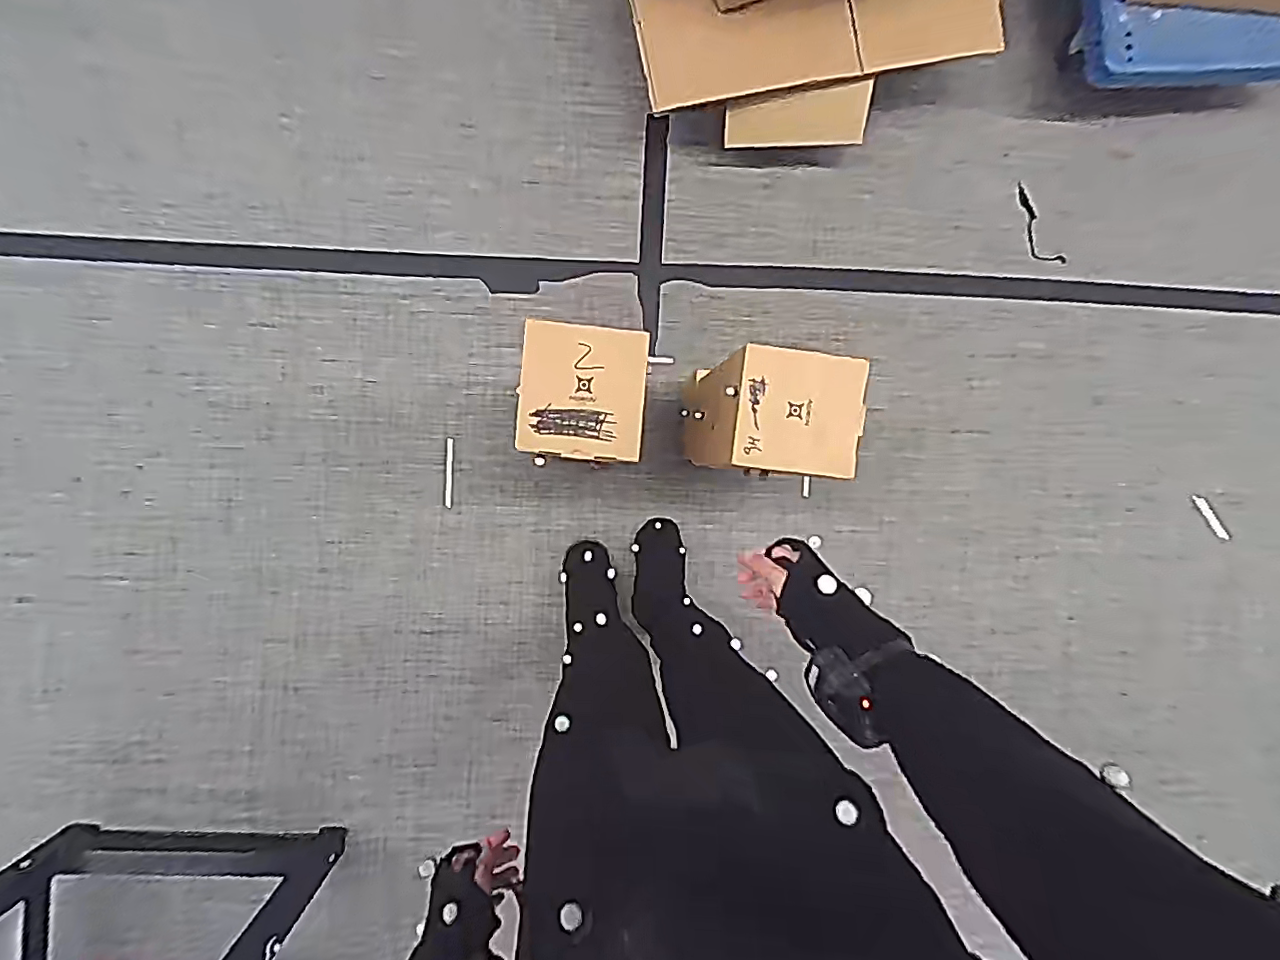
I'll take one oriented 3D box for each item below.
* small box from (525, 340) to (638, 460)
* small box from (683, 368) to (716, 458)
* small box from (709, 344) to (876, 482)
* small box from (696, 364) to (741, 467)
[{"bbox_3d":[-0.100,-0.130,0.946,0.168,0.176,0.179,6,91,-6],"label":"small box"},{"bbox_3d":[0.186,-0.130,1.130,0.168,0.176,0.179,2,92,-5],"label":"small box"},{"bbox_3d":[0.215,-0.094,0.803,0.179,0.176,0.168,7,92,-6],"label":"small box"},{"bbox_3d":[0.203,-0.105,0.967,0.179,0.176,0.168,4,93,-5],"label":"small box"}]
